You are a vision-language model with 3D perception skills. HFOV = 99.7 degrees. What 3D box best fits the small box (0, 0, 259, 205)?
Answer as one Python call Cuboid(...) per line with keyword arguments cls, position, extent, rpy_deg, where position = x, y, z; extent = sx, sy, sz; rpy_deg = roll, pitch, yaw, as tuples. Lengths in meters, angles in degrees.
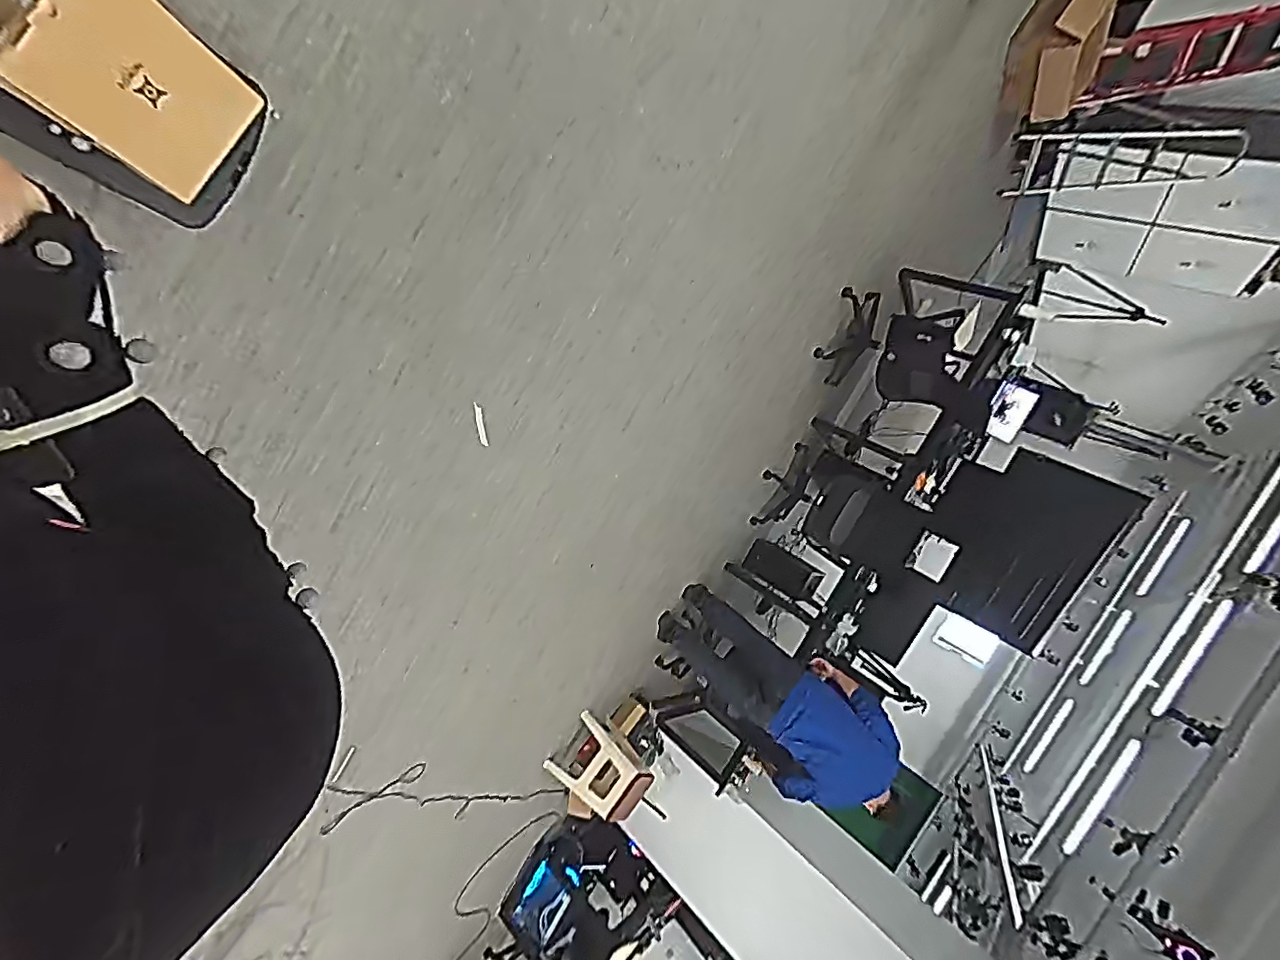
Cuboid(cls="small box", position=(-0.617, -0.473, 0.649), extent=(0.168, 0.176, 0.179), rpy_deg=(-56, 147, -3))
